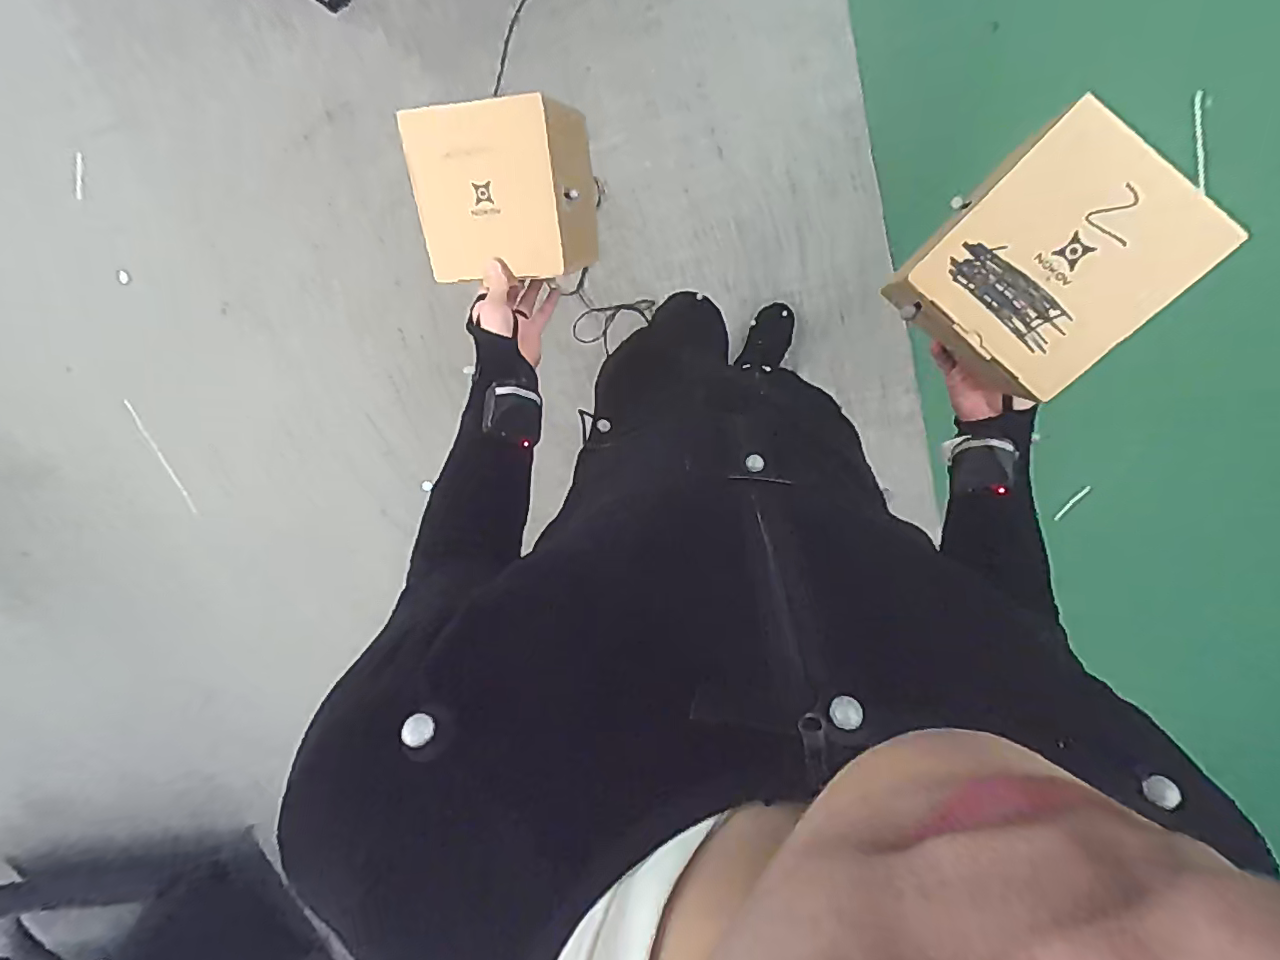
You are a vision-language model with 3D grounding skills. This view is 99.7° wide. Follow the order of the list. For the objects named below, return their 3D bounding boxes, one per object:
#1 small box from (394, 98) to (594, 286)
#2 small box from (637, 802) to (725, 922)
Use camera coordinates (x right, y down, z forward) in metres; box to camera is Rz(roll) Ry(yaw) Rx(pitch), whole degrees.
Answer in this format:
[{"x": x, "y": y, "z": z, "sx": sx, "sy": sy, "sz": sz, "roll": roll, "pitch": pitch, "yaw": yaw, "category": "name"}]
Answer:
[{"x": -0.161, "y": -0.346, "z": 0.663, "sx": 0.168, "sy": 0.176, "sz": 0.179, "roll": 1, "pitch": 118, "yaw": 11, "category": "small box"}, {"x": 0.106, "y": 0.913, "z": 1.297, "sx": 0.168, "sy": 0.176, "sz": 0.179, "roll": -13, "pitch": 105, "yaw": 14, "category": "small box"}]
